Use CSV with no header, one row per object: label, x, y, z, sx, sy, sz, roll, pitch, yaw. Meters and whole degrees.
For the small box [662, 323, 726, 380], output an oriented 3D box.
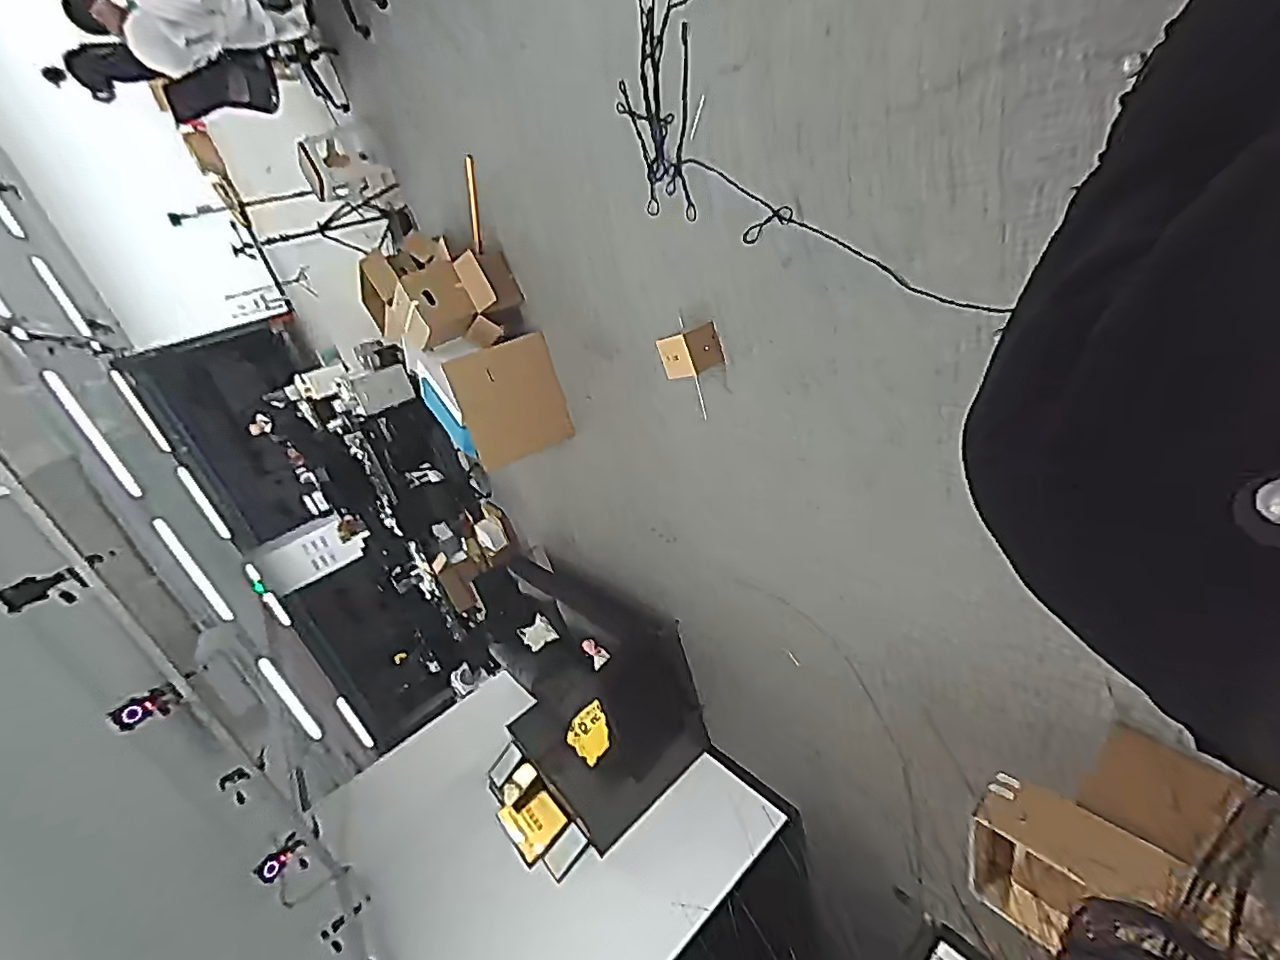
small box,0.224,-0.514,2.159,0.179,0.176,0.168,7,123,56
